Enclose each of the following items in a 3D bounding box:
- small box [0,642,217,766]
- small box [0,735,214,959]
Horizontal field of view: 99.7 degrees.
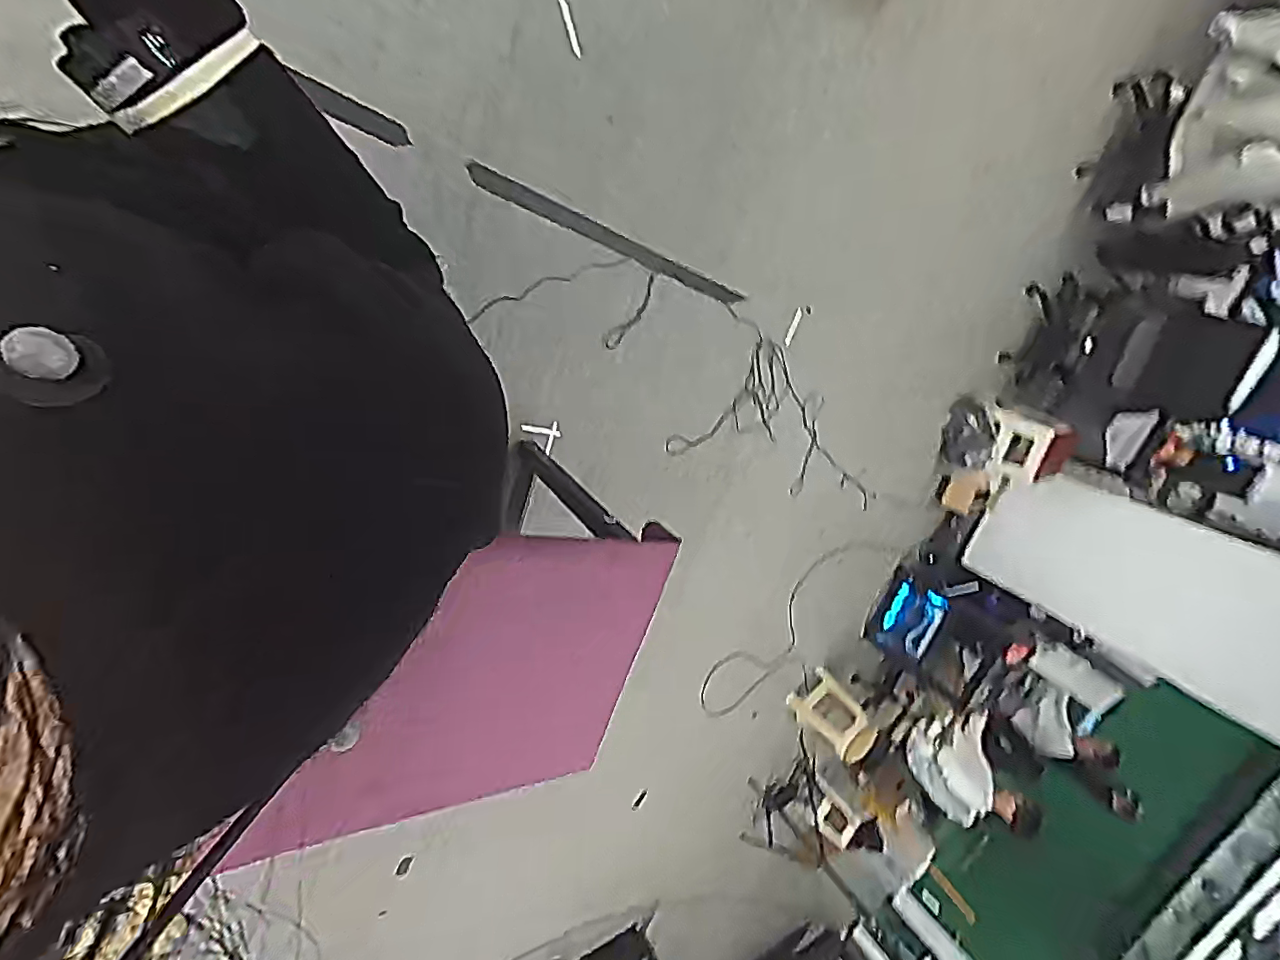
[{"bbox_3d":[-0.618,0.317,0.640,0.168,0.176,0.179,10,108,-40],"label":"small box"},{"bbox_3d":[-0.529,0.381,0.518,0.168,0.176,0.179,13,107,-41],"label":"small box"}]
